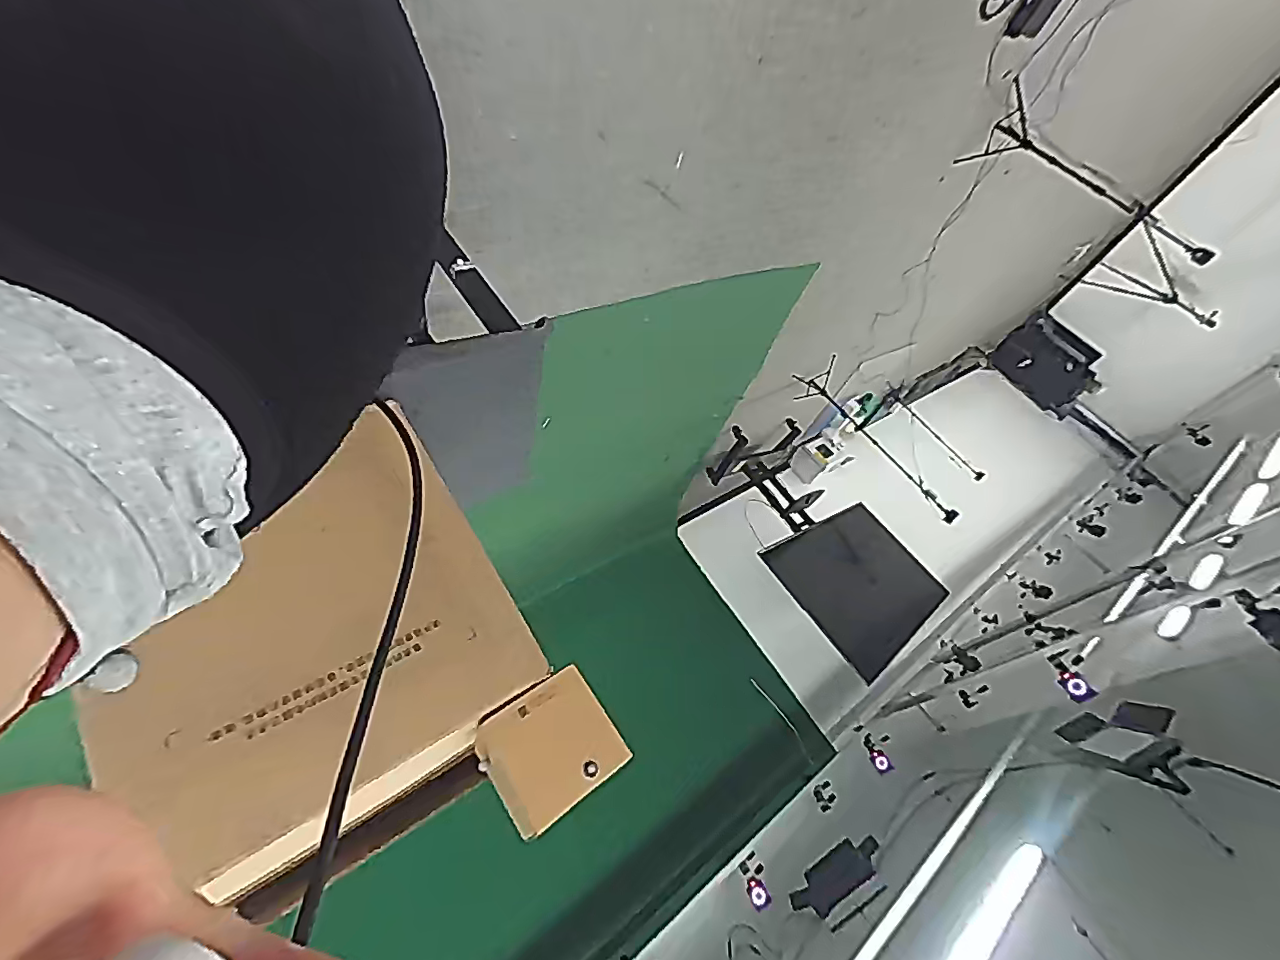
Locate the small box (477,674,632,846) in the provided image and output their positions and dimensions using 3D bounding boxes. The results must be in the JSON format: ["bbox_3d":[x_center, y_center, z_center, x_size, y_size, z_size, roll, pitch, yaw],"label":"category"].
[{"bbox_3d":[-0.143,0.437,0.855,0.168,0.176,0.179,-27,157,-34],"label":"small box"}]
